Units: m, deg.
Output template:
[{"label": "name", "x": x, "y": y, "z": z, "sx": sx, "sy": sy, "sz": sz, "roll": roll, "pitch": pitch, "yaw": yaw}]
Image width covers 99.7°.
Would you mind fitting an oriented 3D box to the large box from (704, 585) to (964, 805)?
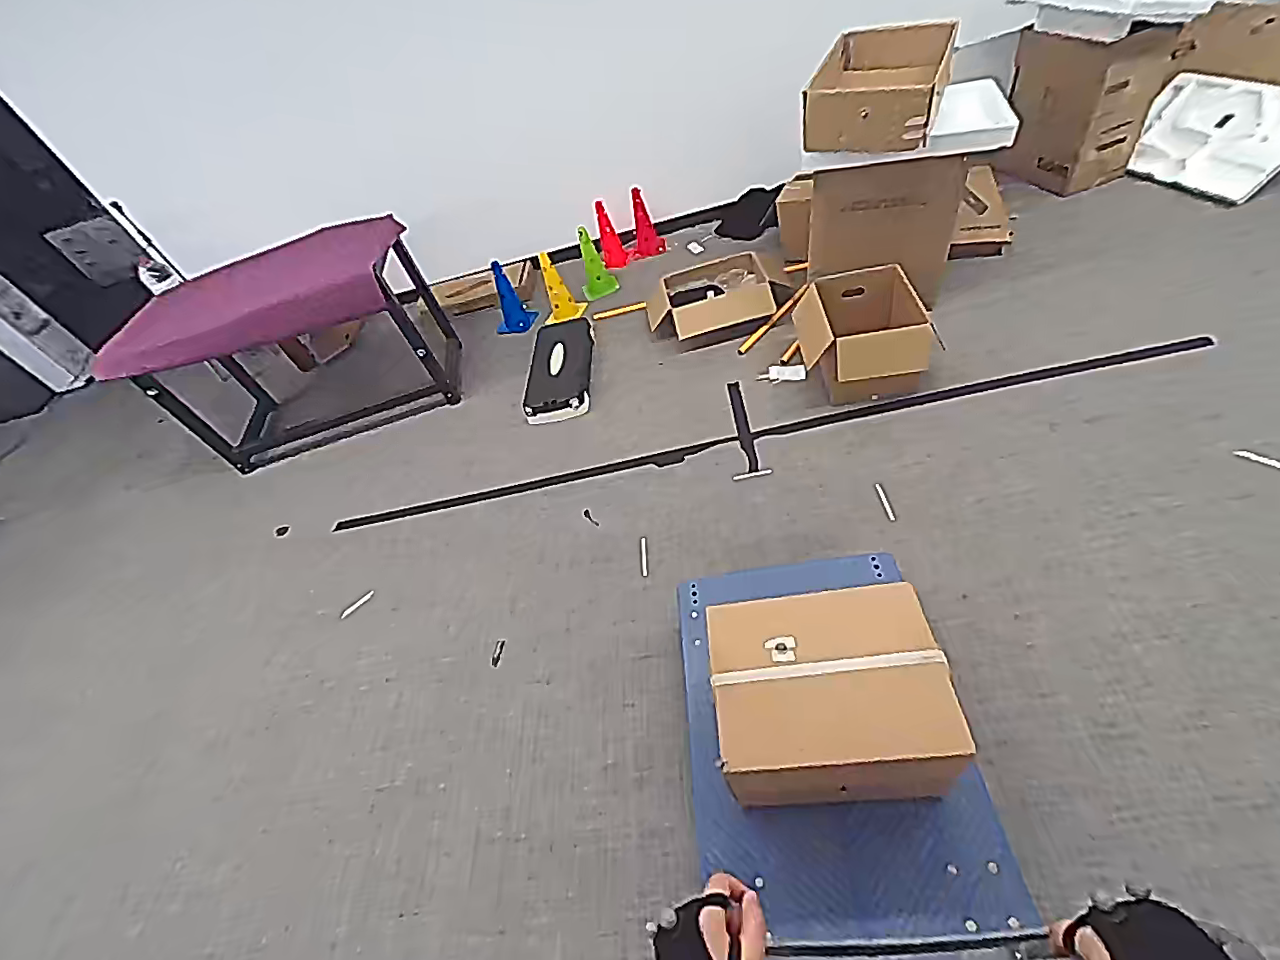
[{"label": "large box", "x": 0.369, "y": 0.453, "z": 1.112, "sx": 0.408, "sy": 0.320, "sz": 0.320, "roll": -11, "pitch": 47, "yaw": 10}]
